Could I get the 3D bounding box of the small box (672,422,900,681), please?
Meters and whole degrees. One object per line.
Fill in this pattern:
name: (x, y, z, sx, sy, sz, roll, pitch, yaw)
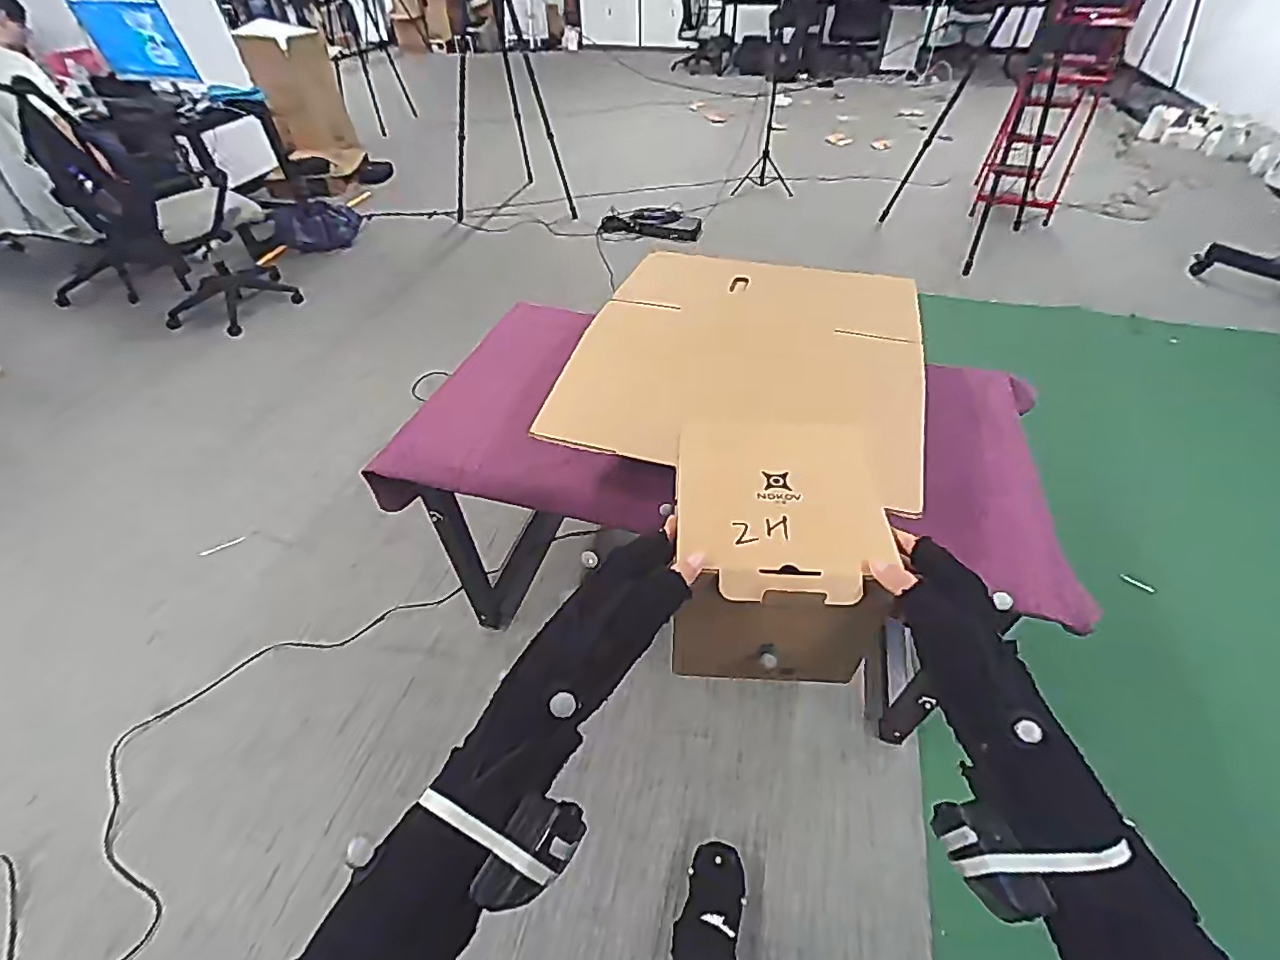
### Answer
small box: (0.116, 0.065, 0.512, 0.168, 0.176, 0.179, 1, 45, 4)
